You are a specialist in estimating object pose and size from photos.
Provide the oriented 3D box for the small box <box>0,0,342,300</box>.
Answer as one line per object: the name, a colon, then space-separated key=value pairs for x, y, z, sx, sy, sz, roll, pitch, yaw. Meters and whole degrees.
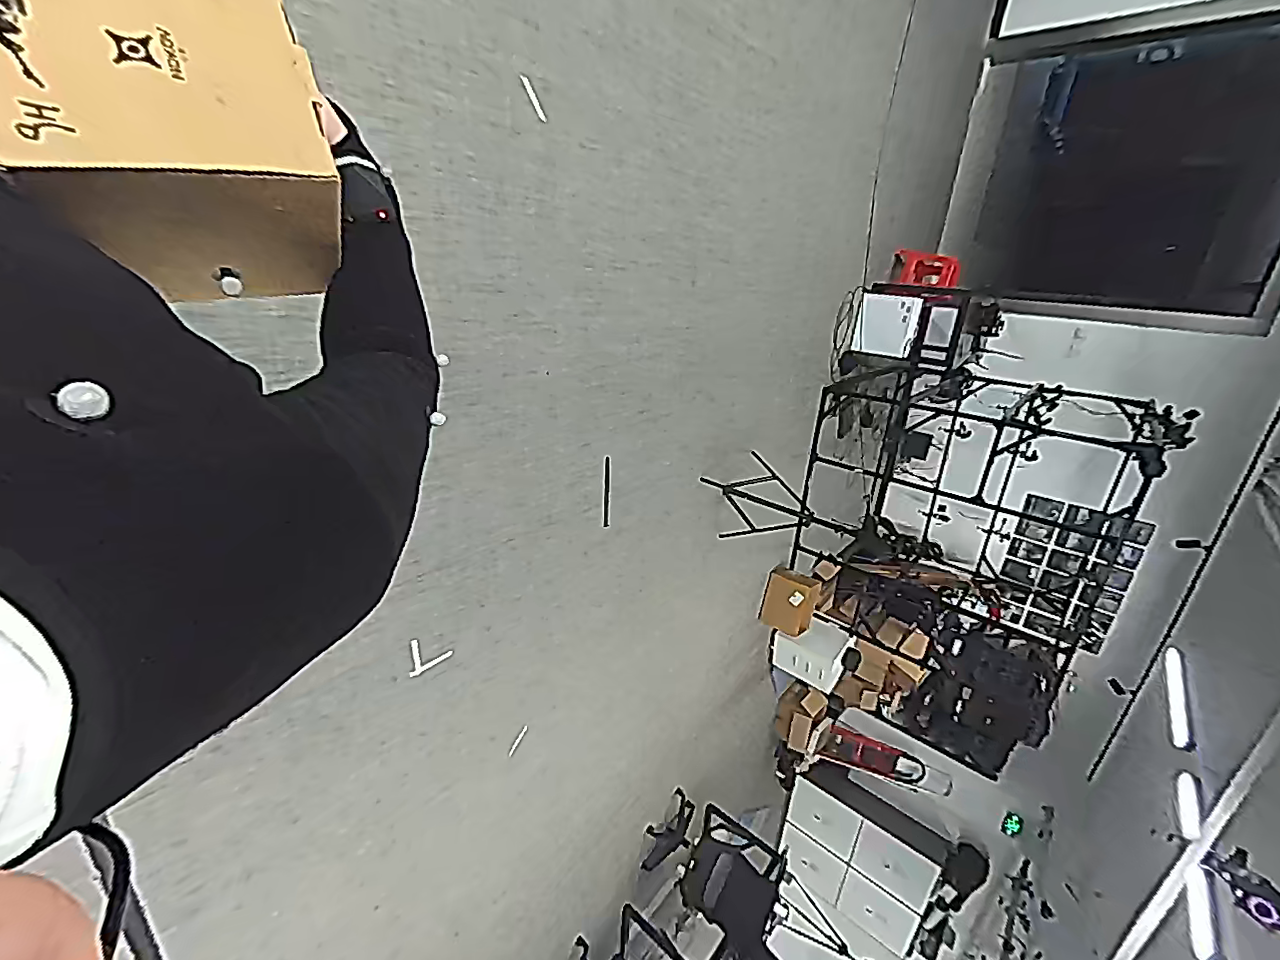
small box: x=-0.357 y=-0.261 z=0.431 sx=0.179 sy=0.176 sz=0.168 roll=-17 pitch=86 yaw=-31
